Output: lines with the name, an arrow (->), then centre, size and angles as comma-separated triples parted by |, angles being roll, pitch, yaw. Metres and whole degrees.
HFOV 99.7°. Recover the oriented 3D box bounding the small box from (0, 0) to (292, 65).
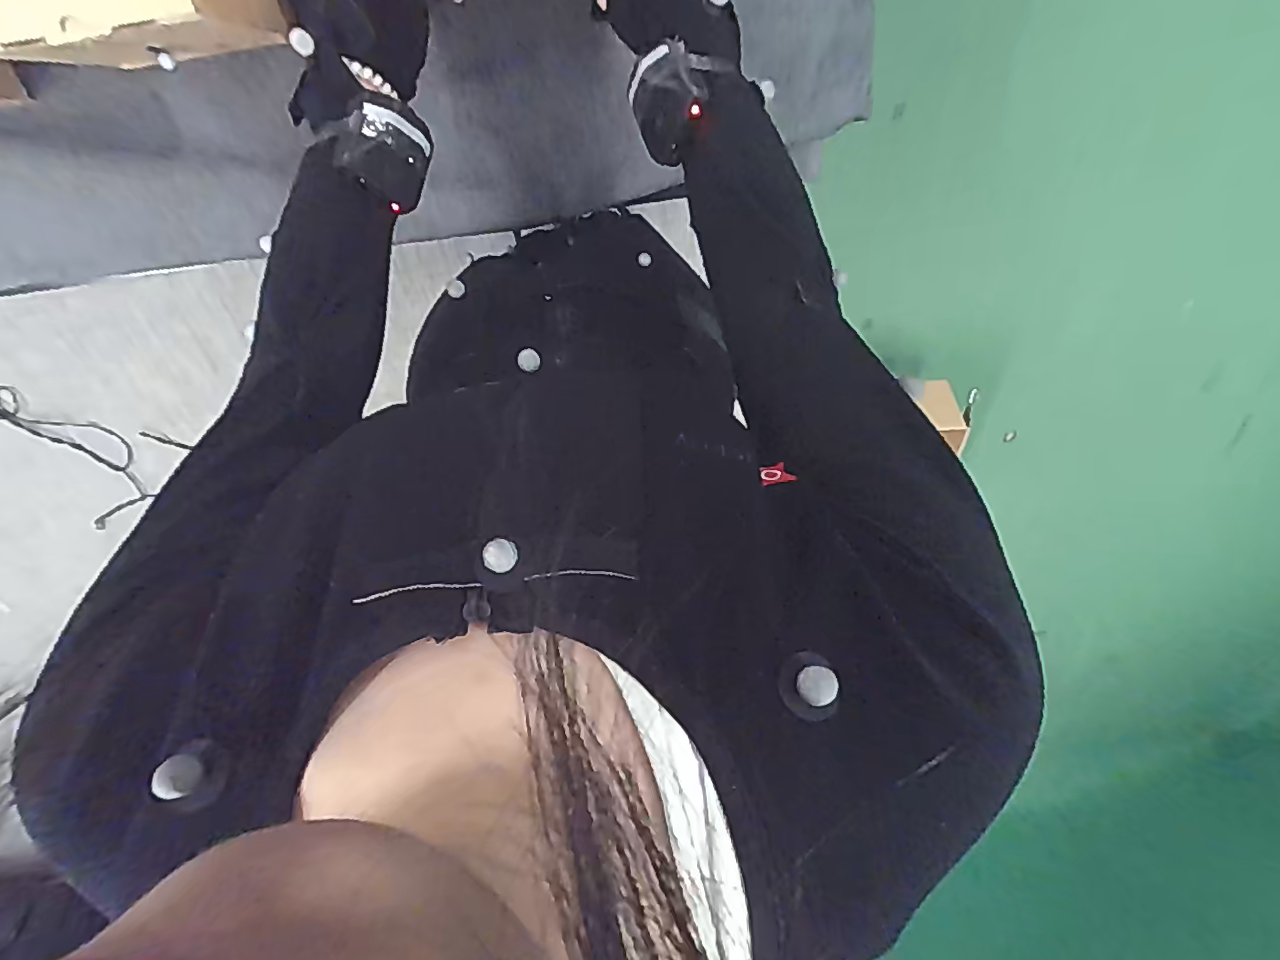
small box -> -0.387, -0.407, 0.371 | 0.168, 0.176, 0.179 | -11, 127, -1
